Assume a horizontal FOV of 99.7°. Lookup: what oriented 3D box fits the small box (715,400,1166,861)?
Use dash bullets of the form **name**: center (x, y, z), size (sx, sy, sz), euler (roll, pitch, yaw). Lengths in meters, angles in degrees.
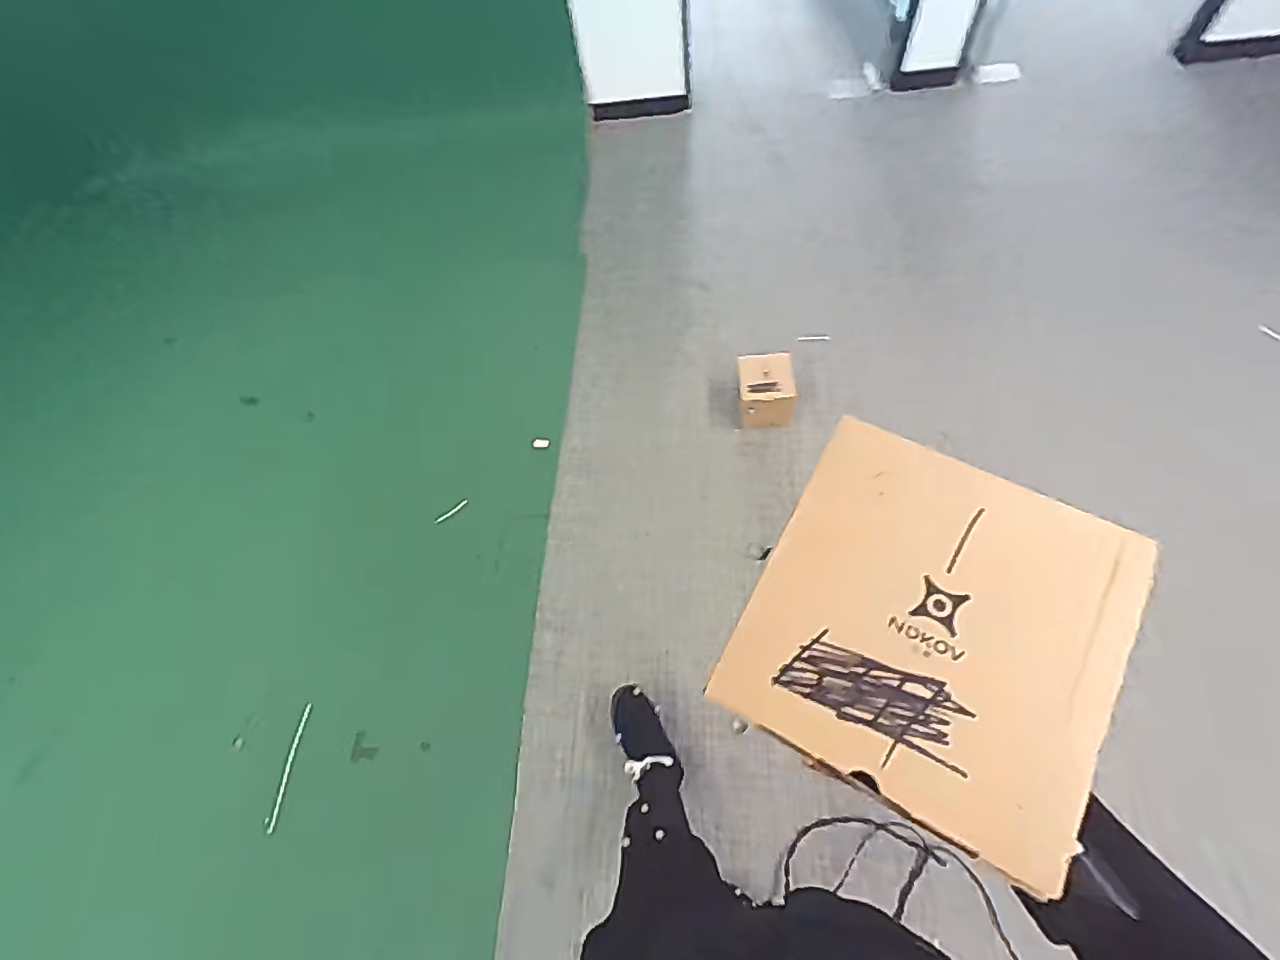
- **small box**: center (0.162, 0.087, 0.348), size (0.168, 0.176, 0.179), euler (28, 75, 17)
